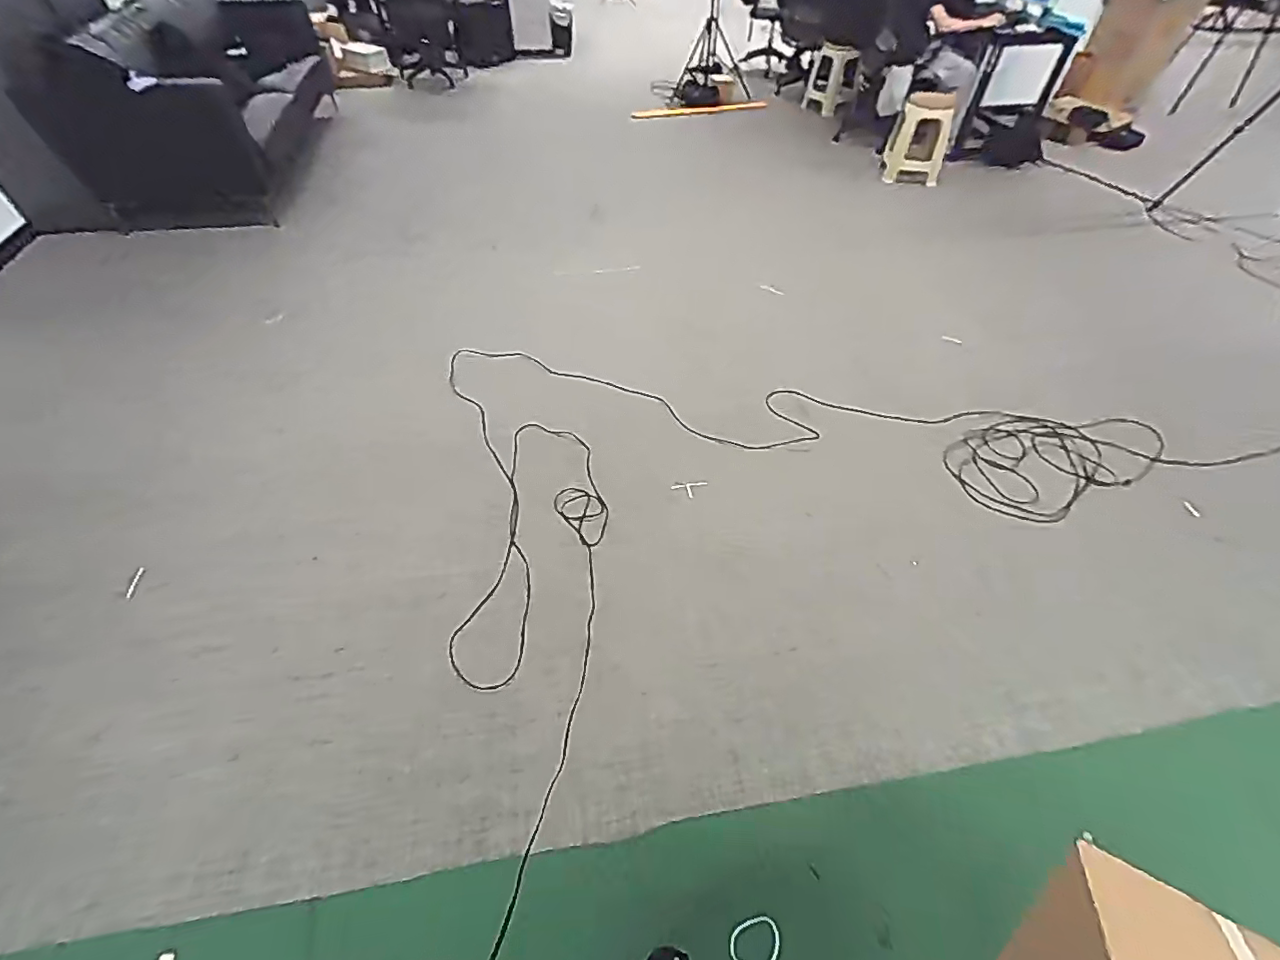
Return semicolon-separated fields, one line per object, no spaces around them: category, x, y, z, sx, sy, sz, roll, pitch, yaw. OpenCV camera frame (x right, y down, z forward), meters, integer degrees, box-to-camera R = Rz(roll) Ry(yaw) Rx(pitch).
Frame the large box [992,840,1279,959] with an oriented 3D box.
large box;0.594;0.721;0.567;0.320;0.320;0.408;25;18;24
